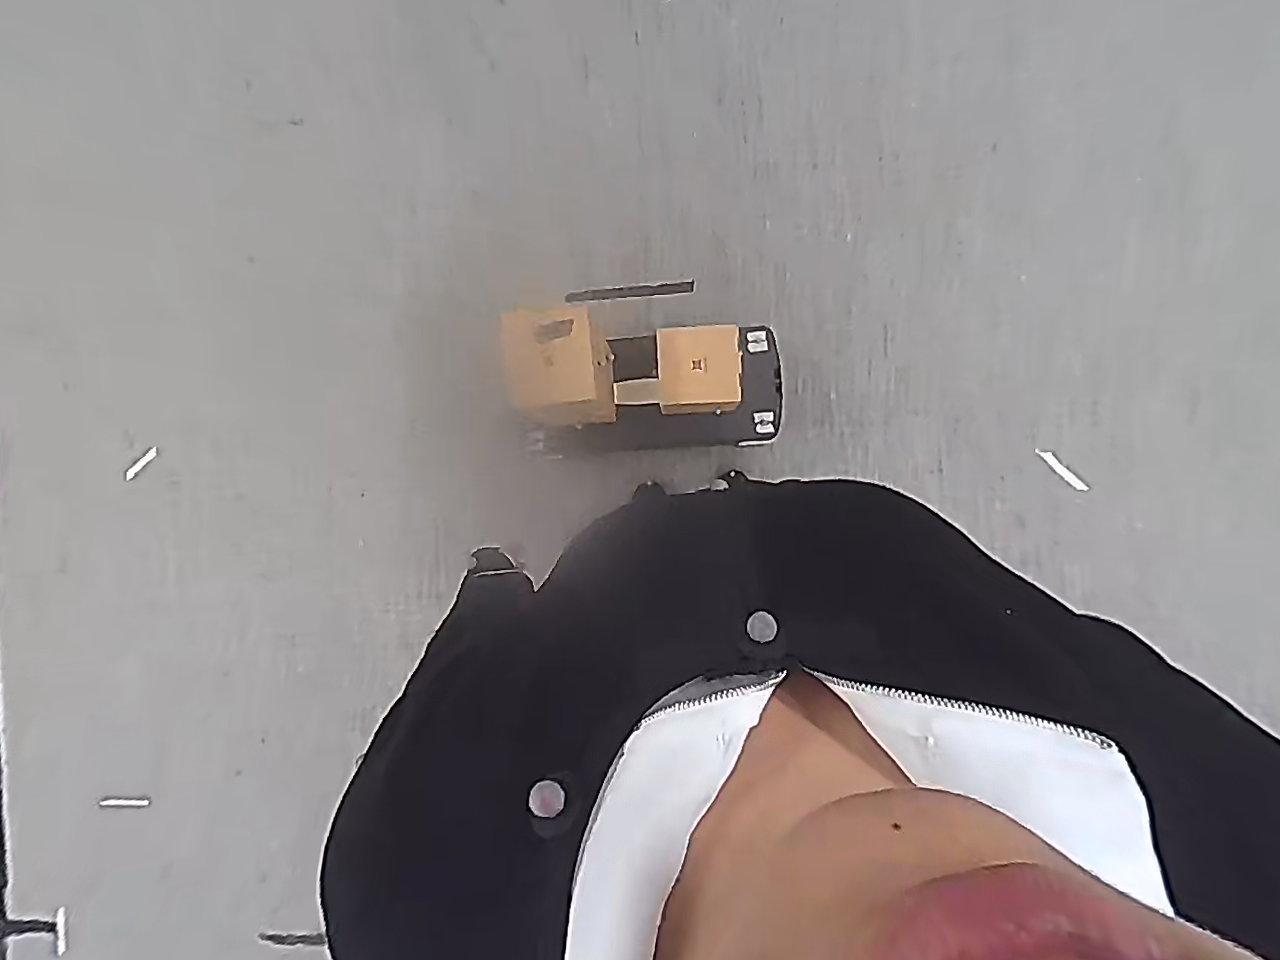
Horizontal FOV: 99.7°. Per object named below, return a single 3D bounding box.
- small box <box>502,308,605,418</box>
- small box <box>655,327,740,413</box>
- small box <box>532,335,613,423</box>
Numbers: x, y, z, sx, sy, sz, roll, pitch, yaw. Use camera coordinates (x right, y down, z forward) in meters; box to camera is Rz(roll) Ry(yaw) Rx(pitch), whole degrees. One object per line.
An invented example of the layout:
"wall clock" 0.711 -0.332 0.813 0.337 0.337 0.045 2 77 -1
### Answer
"small box" -0.165 -0.225 1.077 0.168 0.176 0.179 -5 90 3
"small box" 0.128 -0.241 1.225 0.179 0.176 0.168 -3 90 6
"small box" -0.153 -0.220 1.240 0.168 0.176 0.179 -4 90 4
